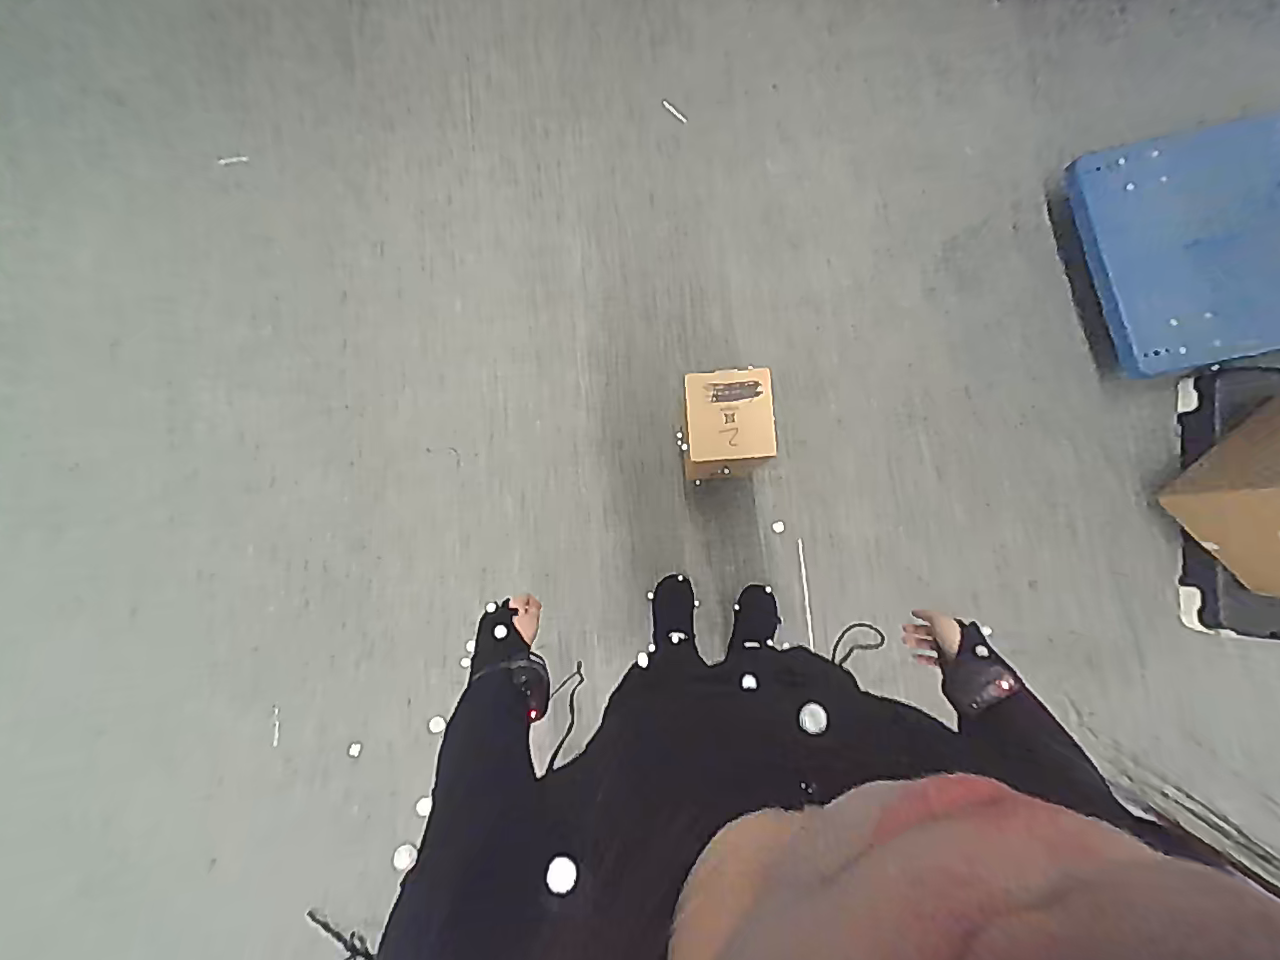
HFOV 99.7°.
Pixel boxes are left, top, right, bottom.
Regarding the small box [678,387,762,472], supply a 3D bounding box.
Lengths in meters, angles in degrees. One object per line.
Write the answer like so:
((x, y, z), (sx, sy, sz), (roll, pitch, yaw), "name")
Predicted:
((0.183, -0.113, 1.273), (0.179, 0.176, 0.168), (-4, 85, 3), "small box")

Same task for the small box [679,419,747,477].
((0.192, -0.103, 1.437), (0.168, 0.176, 0.179), (-4, 84, 3), "small box")
